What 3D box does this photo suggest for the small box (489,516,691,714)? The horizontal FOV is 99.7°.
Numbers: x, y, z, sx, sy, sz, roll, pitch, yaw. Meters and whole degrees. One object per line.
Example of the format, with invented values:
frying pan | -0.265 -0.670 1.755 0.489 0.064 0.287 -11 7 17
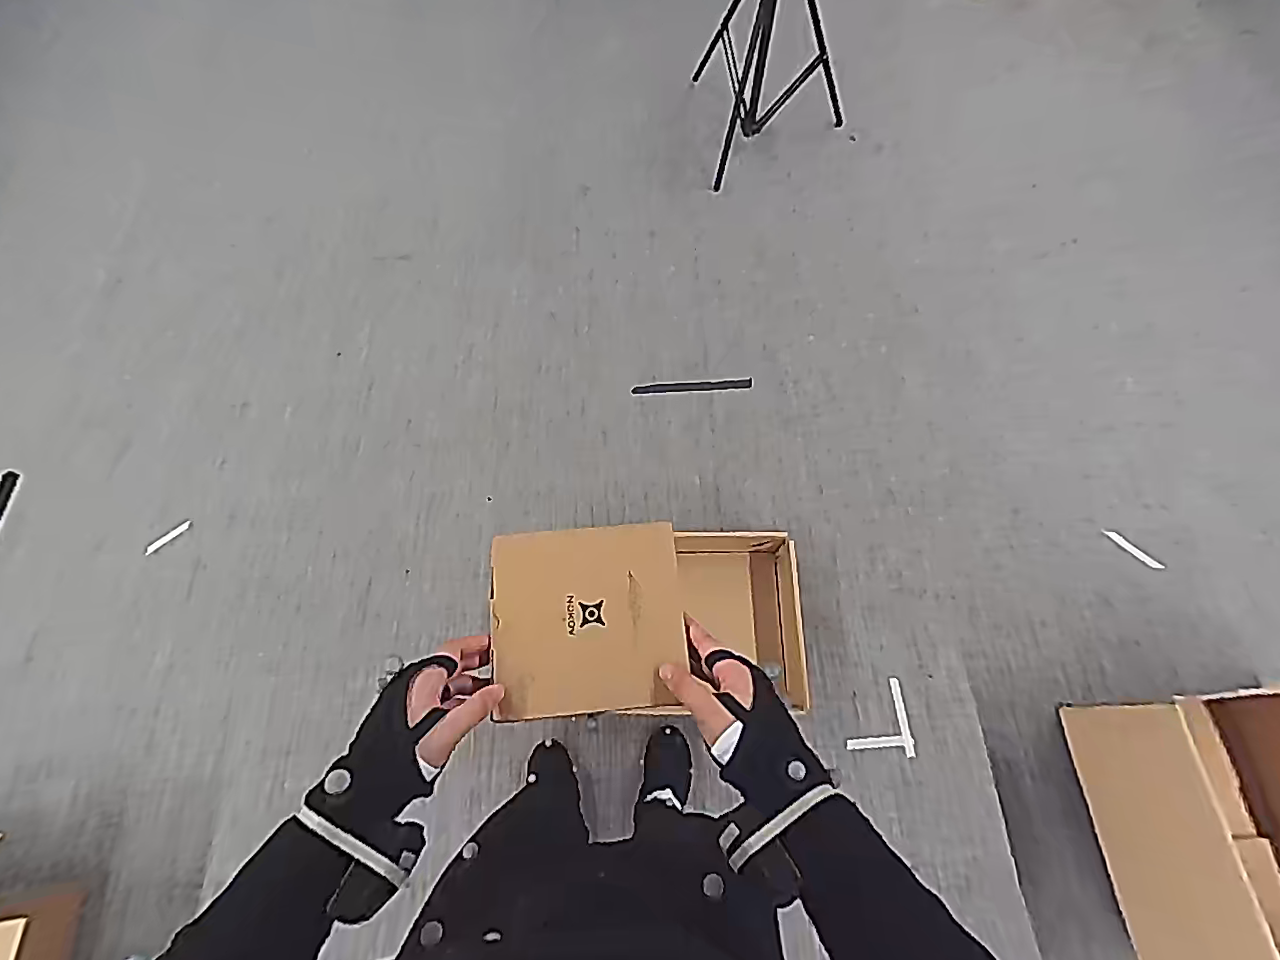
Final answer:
small box | -0.052 0.148 0.566 0.179 0.176 0.168 -5 68 -5
